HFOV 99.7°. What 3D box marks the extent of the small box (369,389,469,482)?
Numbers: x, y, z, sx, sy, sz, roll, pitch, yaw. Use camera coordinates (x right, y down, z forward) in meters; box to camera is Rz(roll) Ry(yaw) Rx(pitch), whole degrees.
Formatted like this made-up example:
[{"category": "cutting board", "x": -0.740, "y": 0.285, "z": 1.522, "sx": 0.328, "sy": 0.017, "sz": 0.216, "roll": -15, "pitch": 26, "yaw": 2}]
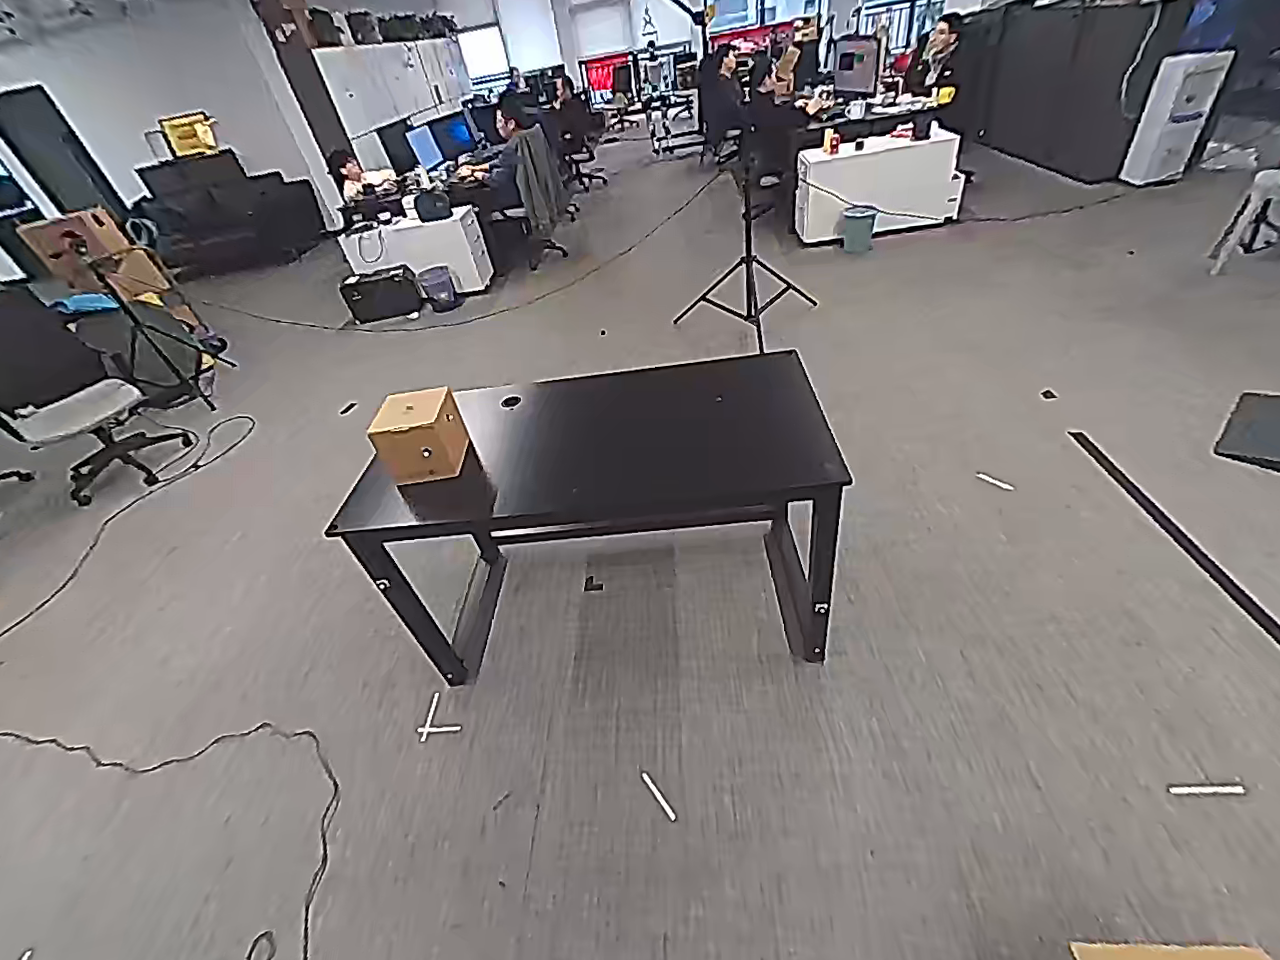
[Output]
[{"category": "small box", "x": -0.555, "y": -0.109, "z": 1.386, "sx": 0.168, "sy": 0.176, "sz": 0.179, "roll": -8, "pitch": 38, "yaw": 2}]
